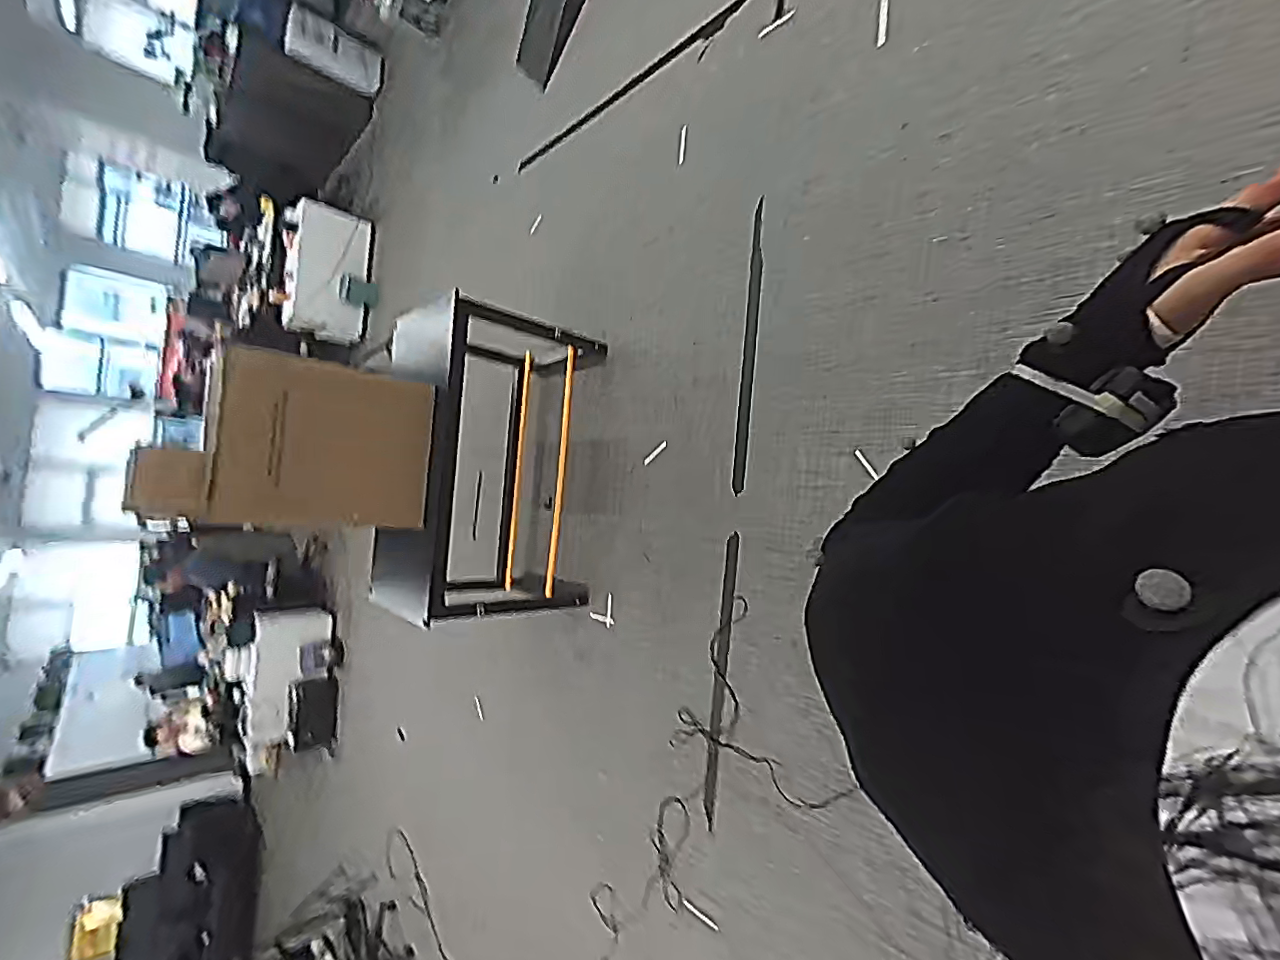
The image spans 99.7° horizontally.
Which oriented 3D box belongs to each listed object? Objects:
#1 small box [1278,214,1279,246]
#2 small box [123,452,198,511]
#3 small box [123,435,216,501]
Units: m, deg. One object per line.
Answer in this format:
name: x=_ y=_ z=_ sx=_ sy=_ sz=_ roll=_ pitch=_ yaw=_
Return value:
small box: x=0.477 y=-0.212 z=0.277 sx=0.168 sy=0.176 sz=0.179 roll=20 pitch=115 yaw=45
small box: x=-1.453 y=0.006 z=1.649 sx=0.179 sy=0.176 sz=0.168 roll=-5 pitch=81 yaw=46
small box: x=-1.319 y=-0.028 z=1.517 sx=0.179 sy=0.176 sz=0.168 roll=-2 pitch=83 yaw=43
